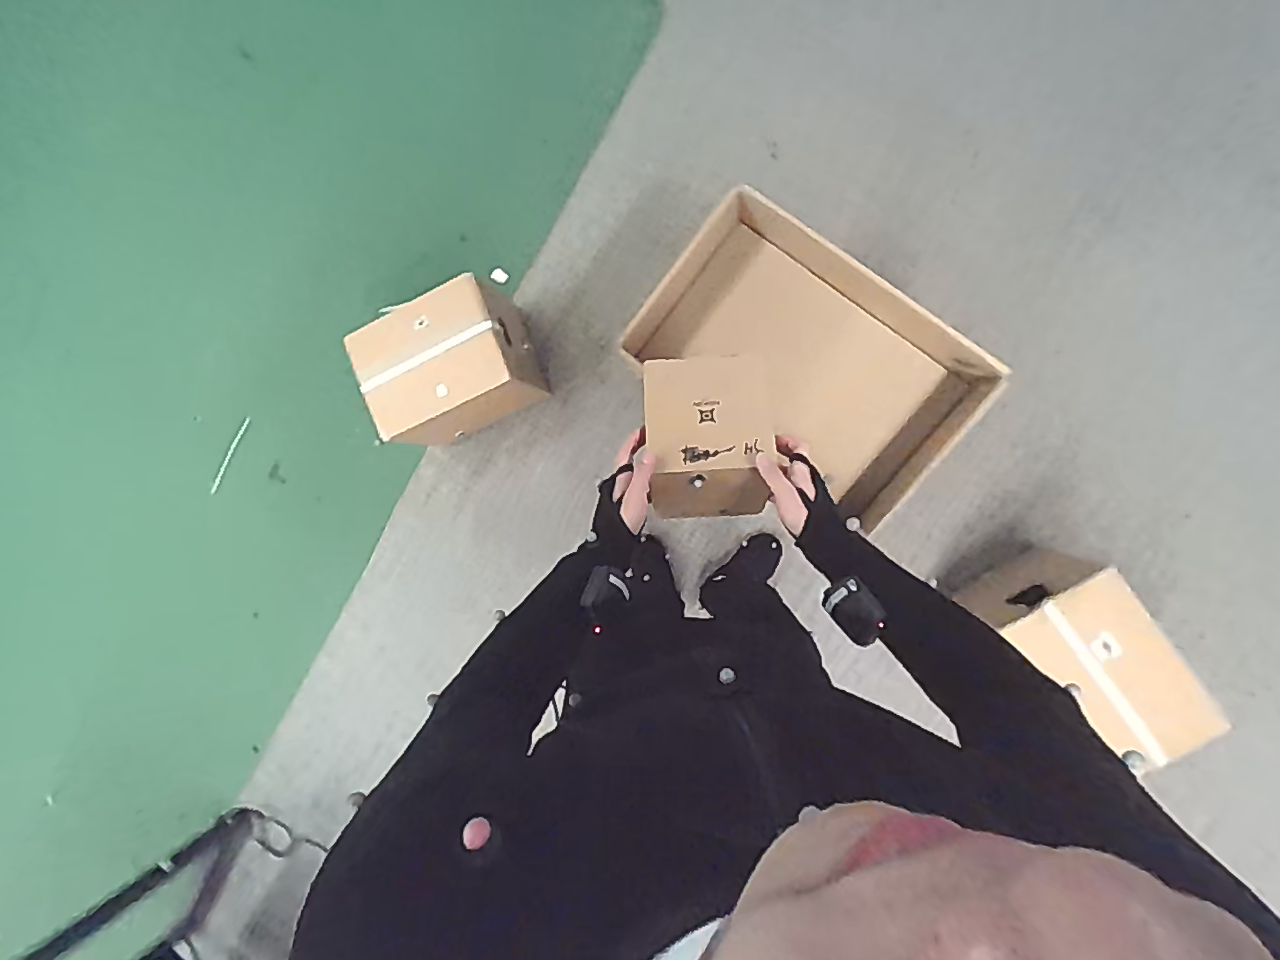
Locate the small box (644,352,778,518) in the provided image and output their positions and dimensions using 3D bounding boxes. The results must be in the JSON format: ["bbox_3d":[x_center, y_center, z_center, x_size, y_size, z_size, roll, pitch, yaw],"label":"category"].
[{"bbox_3d":[0.094,-0.059,0.776,0.168,0.176,0.179,-4,65,4],"label":"small box"}]

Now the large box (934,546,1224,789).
[{"bbox_3d":[1.009,0.423,1.308,0.320,0.320,0.408,-35,85,9],"label":"large box"}]
